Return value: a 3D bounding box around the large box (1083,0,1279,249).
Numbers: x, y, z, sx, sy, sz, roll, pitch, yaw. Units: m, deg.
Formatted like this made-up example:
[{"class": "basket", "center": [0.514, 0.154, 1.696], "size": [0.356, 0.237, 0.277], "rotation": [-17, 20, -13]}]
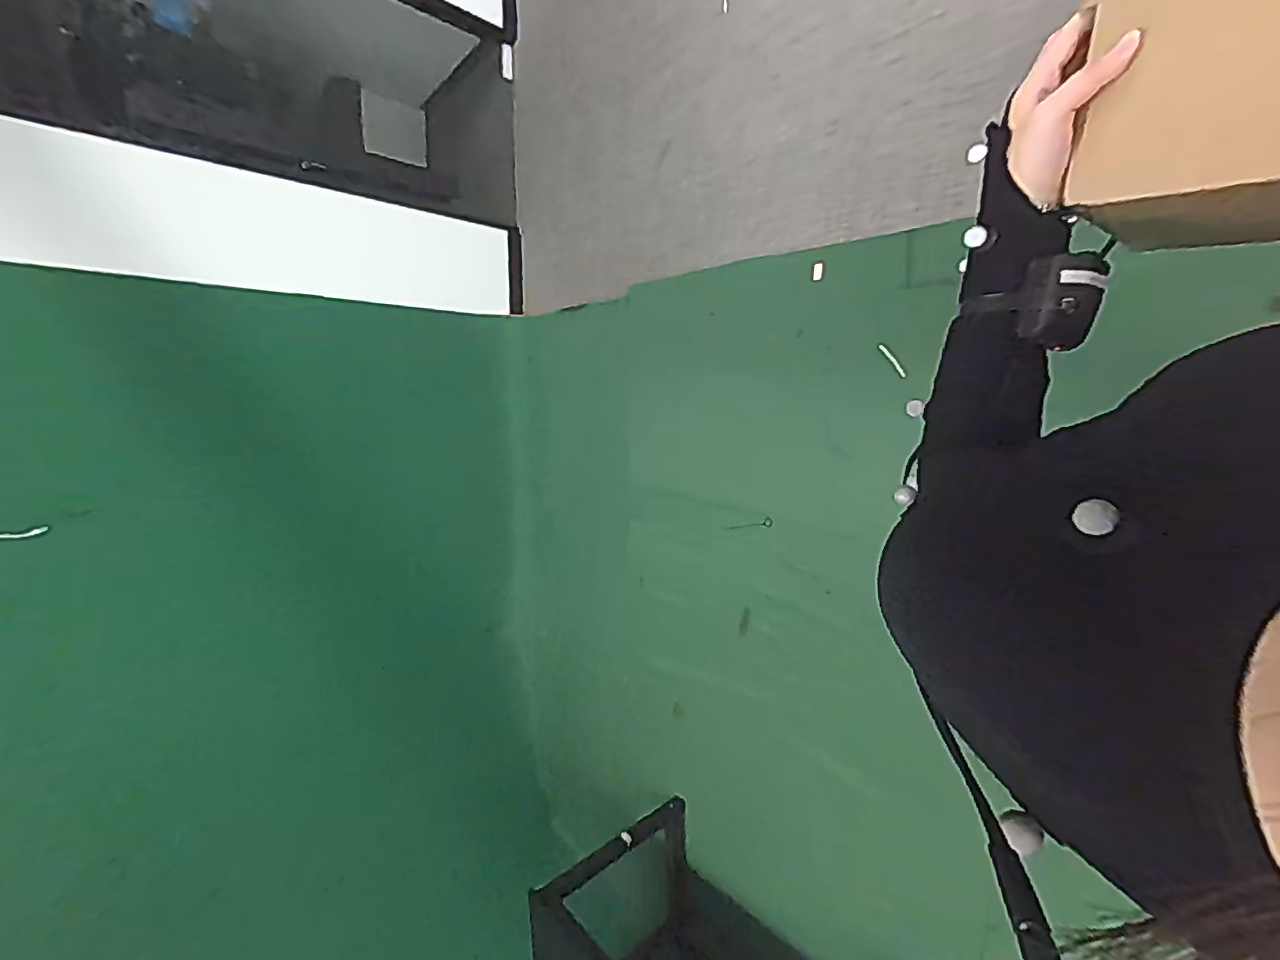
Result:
[{"class": "large box", "center": [0.563, -0.343, 0.318], "size": [0.408, 0.320, 0.320], "rotation": [15, 111, 45]}]
